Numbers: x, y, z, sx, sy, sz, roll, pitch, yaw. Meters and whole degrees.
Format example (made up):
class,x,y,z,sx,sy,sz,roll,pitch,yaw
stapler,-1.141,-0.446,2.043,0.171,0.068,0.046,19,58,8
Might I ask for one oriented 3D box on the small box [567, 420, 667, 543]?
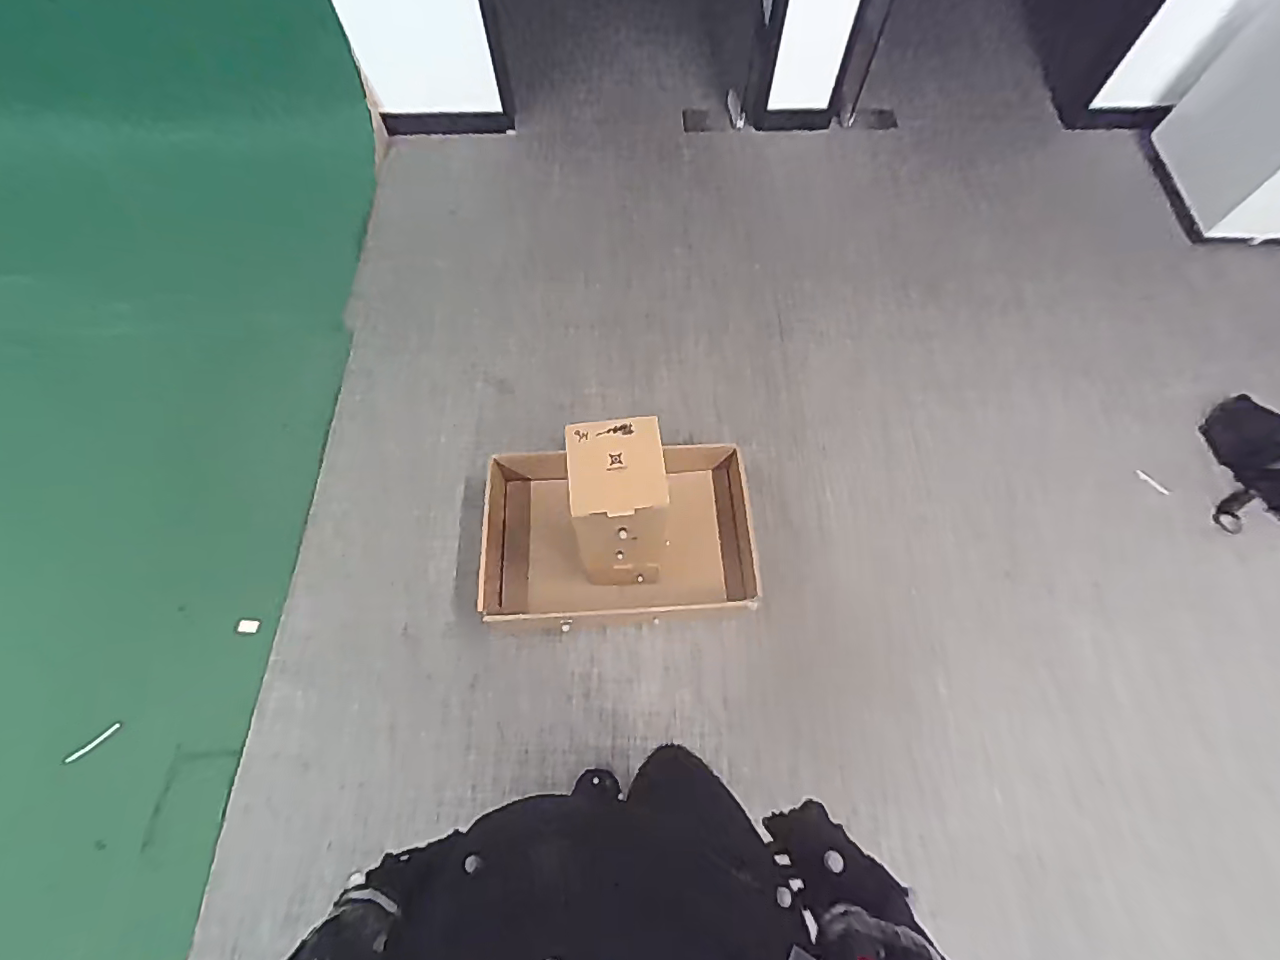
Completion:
class,x,y,z,sx,sy,sz,roll,pitch,yaw
small box,-0.039,0.011,0.989,0.168,0.176,0.179,-5,66,-2

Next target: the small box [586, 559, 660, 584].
class,x,y,z,sx,sy,sz,roll,pitch,yaw
small box,-0.037,0.147,1.287,0.168,0.176,0.179,-1,64,-1

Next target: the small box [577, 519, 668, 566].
class,x,y,z,sx,sy,sz,roll,pitch,yaw
small box,-0.037,0.079,1.137,0.179,0.176,0.168,-3,66,0
